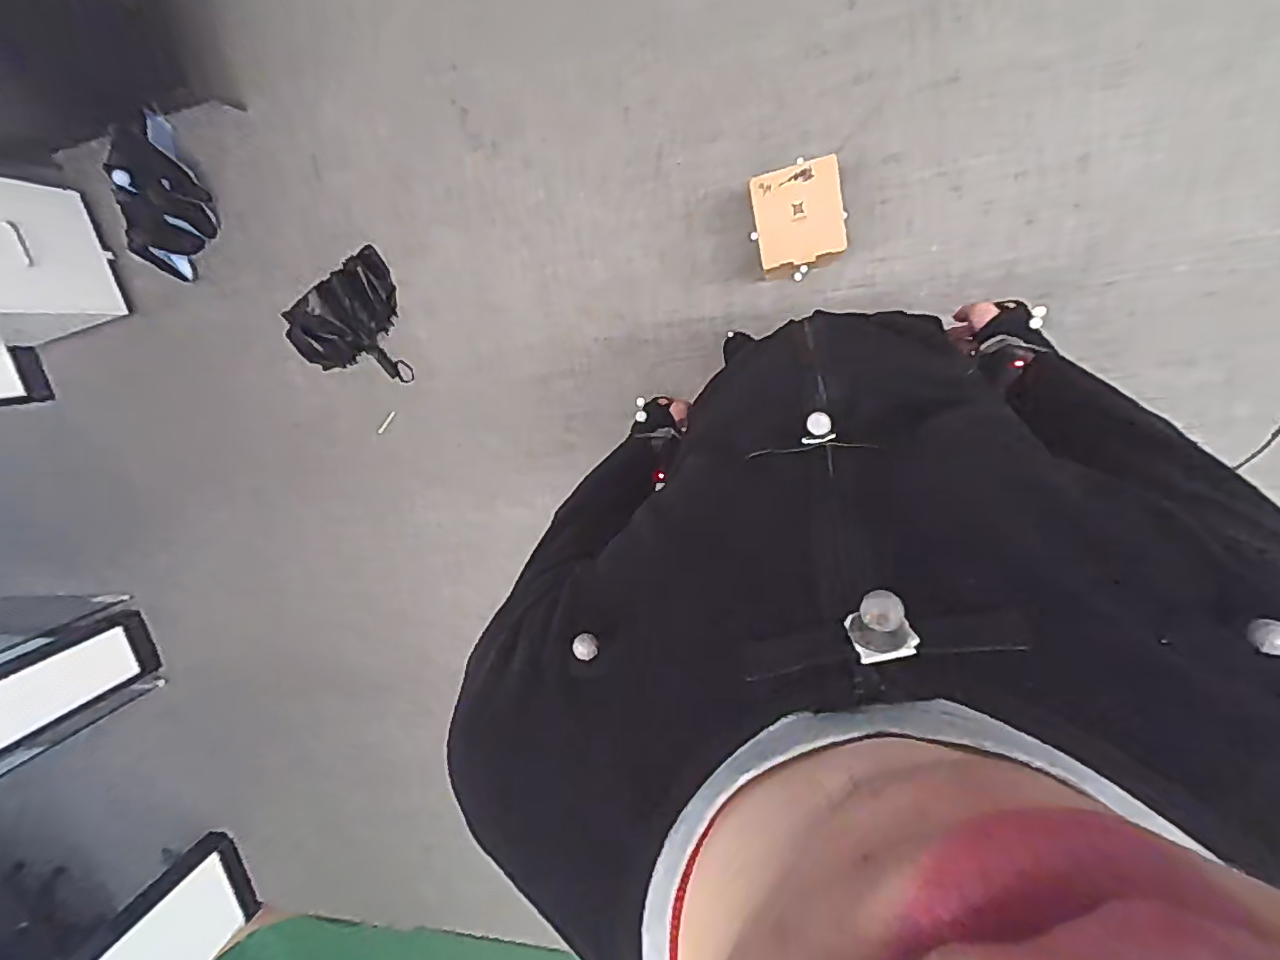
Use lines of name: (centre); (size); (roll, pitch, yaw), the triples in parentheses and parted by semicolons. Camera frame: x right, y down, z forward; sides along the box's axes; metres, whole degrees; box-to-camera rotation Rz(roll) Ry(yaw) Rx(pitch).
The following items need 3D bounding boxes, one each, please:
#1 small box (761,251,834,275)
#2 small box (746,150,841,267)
small box: (0.358, -0.599, 1.283); (0.168, 0.176, 0.179); (-9, 105, 18)
small box: (0.322, -0.553, 1.131); (0.168, 0.176, 0.179); (-8, 105, 17)
